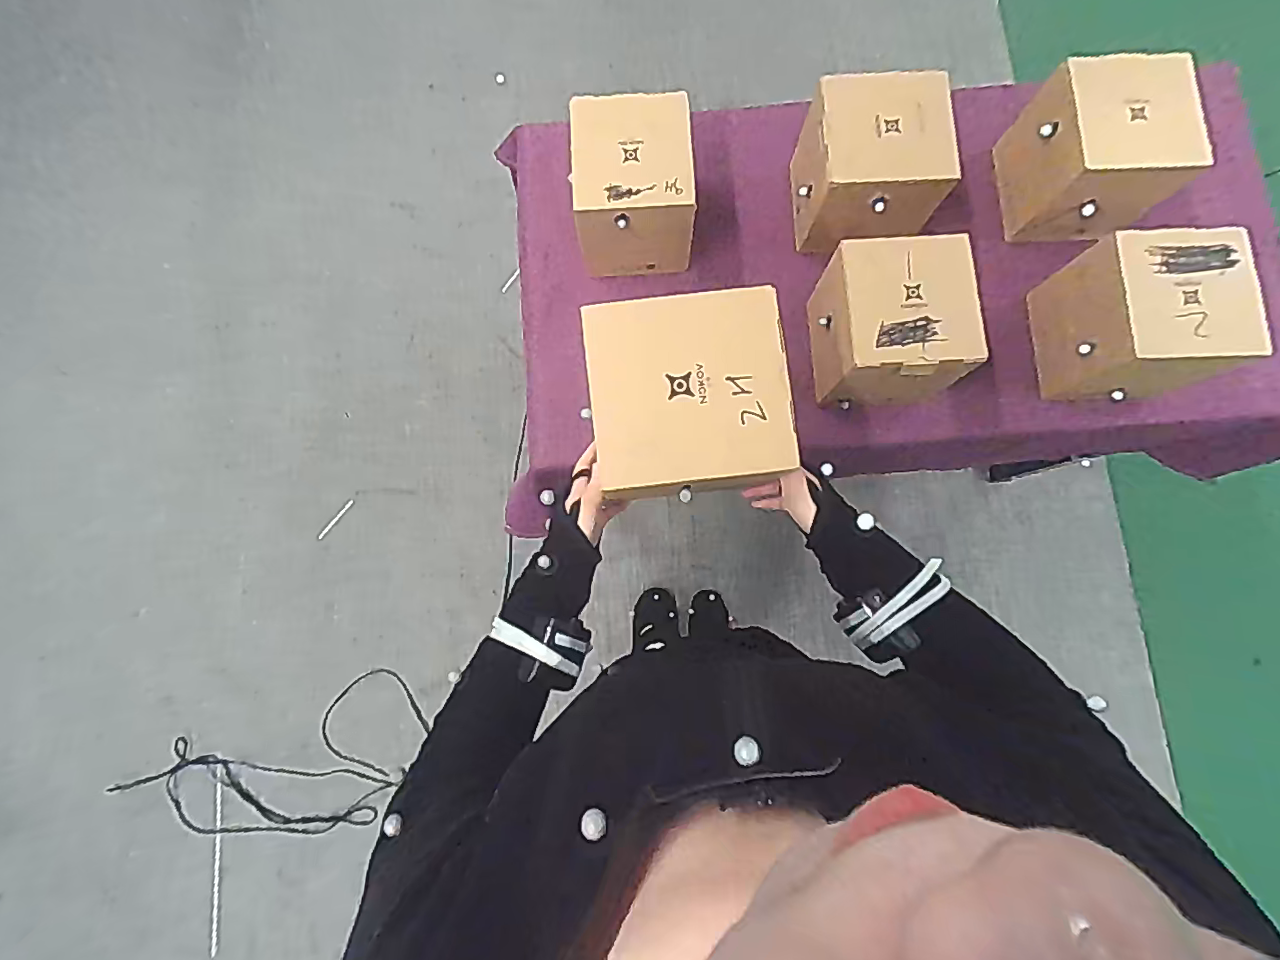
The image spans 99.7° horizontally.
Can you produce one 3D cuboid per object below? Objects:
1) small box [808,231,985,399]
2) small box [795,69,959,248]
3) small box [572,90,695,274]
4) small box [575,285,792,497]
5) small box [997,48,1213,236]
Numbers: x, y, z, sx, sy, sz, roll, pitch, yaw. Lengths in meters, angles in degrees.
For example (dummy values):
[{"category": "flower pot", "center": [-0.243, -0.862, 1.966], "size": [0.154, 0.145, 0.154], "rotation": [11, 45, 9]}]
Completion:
[{"category": "small box", "center": [0.345, -0.218, 0.760], "size": [0.168, 0.176, 0.179], "rotation": [-2, 79, 2]}, {"category": "small box", "center": [0.335, -0.464, 0.803], "size": [0.179, 0.176, 0.168], "rotation": [-1, 81, 1]}, {"category": "small box", "center": [-0.010, -0.435, 0.809], "size": [0.168, 0.176, 0.179], "rotation": [-3, 80, 1]}, {"category": "small box", "center": [0.037, -0.075, 0.544], "size": [0.179, 0.176, 0.168], "rotation": [-6, 85, -1]}, {"category": "small box", "center": [0.663, -0.480, 0.794], "size": [0.168, 0.176, 0.179], "rotation": [-1, 80, 2]}]
